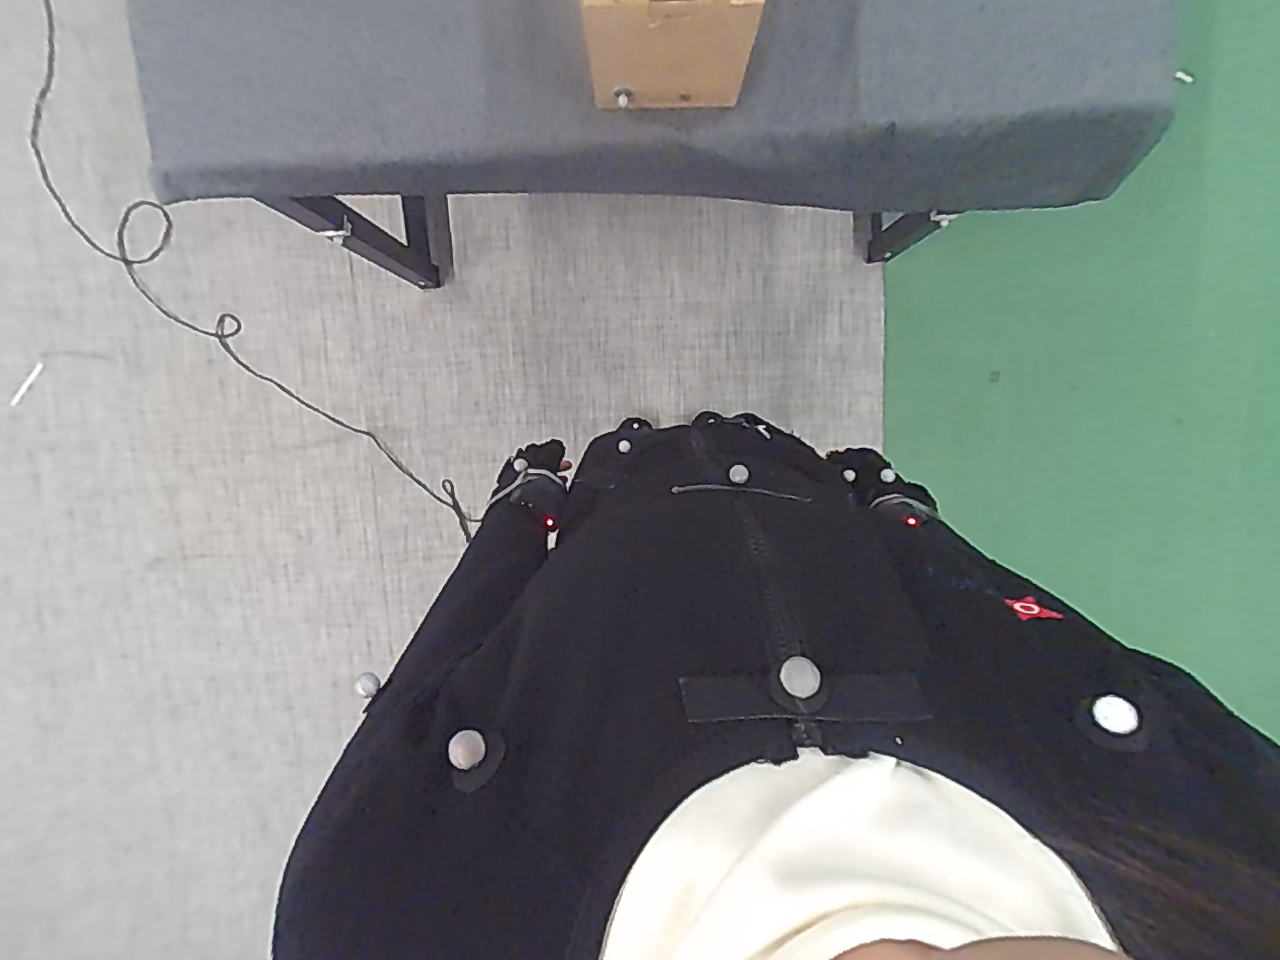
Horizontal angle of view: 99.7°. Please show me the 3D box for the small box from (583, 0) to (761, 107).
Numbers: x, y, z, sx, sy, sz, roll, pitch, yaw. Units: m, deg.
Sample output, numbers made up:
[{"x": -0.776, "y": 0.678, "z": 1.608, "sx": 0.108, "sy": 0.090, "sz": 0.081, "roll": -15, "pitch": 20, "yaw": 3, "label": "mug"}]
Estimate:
[{"x": 0.032, "y": -0.521, "z": 0.559, "sx": 0.168, "sy": 0.176, "sz": 0.179, "roll": 1, "pitch": 96, "yaw": 0, "label": "small box"}]
